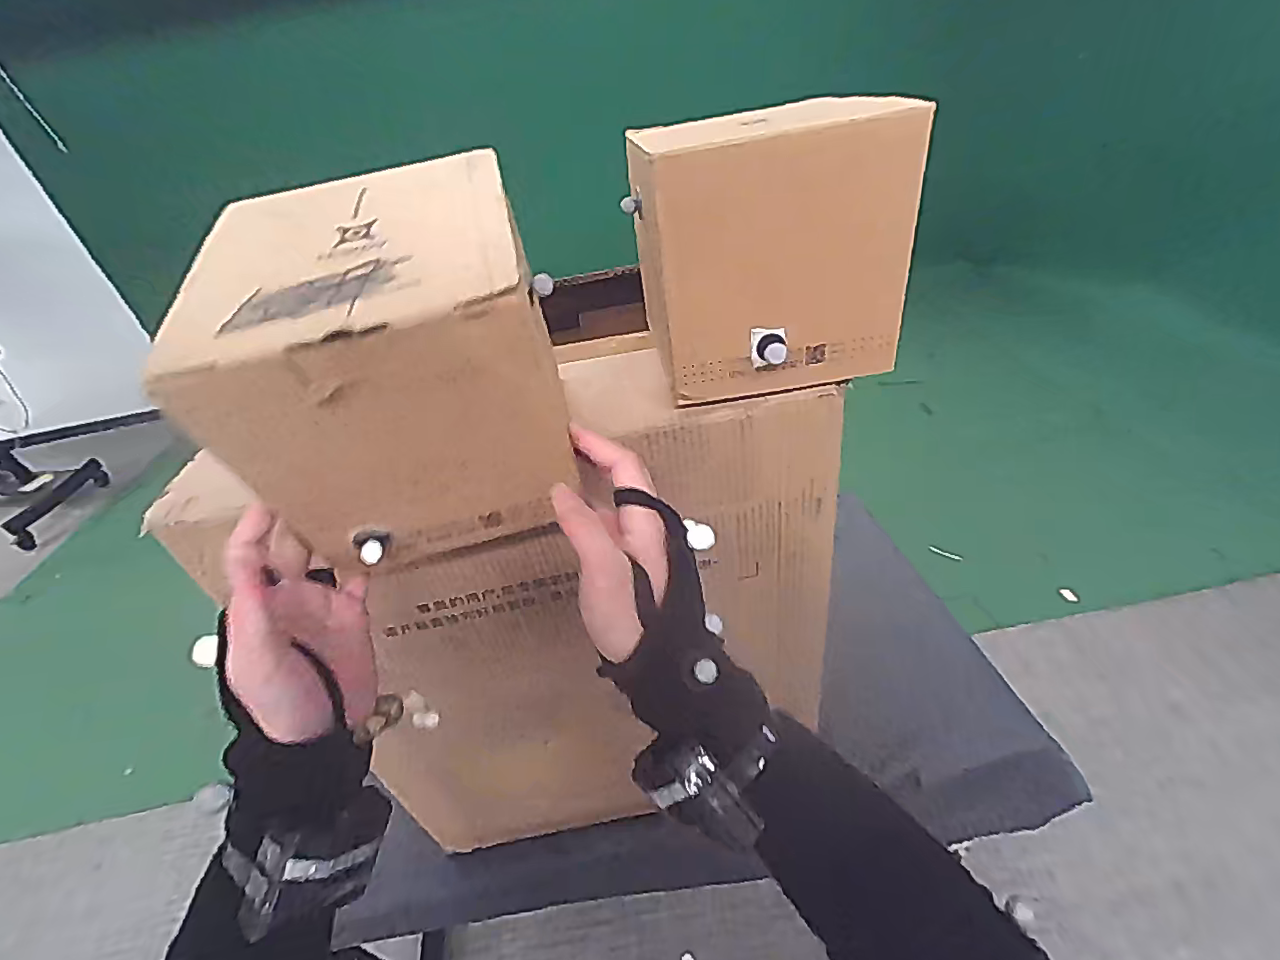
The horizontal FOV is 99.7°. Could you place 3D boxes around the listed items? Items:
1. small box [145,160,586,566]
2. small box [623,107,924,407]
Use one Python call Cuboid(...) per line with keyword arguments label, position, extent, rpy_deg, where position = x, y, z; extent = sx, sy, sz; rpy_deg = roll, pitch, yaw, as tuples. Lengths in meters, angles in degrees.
Cuboid(label="small box", position=(-0.140, -0.064, 0.342), extent=(0.168, 0.176, 0.179), rpy_deg=(-16, 51, -5))
Cuboid(label="small box", position=(0.086, -0.178, 0.426), extent=(0.168, 0.176, 0.179), rpy_deg=(-12, 37, -1))
